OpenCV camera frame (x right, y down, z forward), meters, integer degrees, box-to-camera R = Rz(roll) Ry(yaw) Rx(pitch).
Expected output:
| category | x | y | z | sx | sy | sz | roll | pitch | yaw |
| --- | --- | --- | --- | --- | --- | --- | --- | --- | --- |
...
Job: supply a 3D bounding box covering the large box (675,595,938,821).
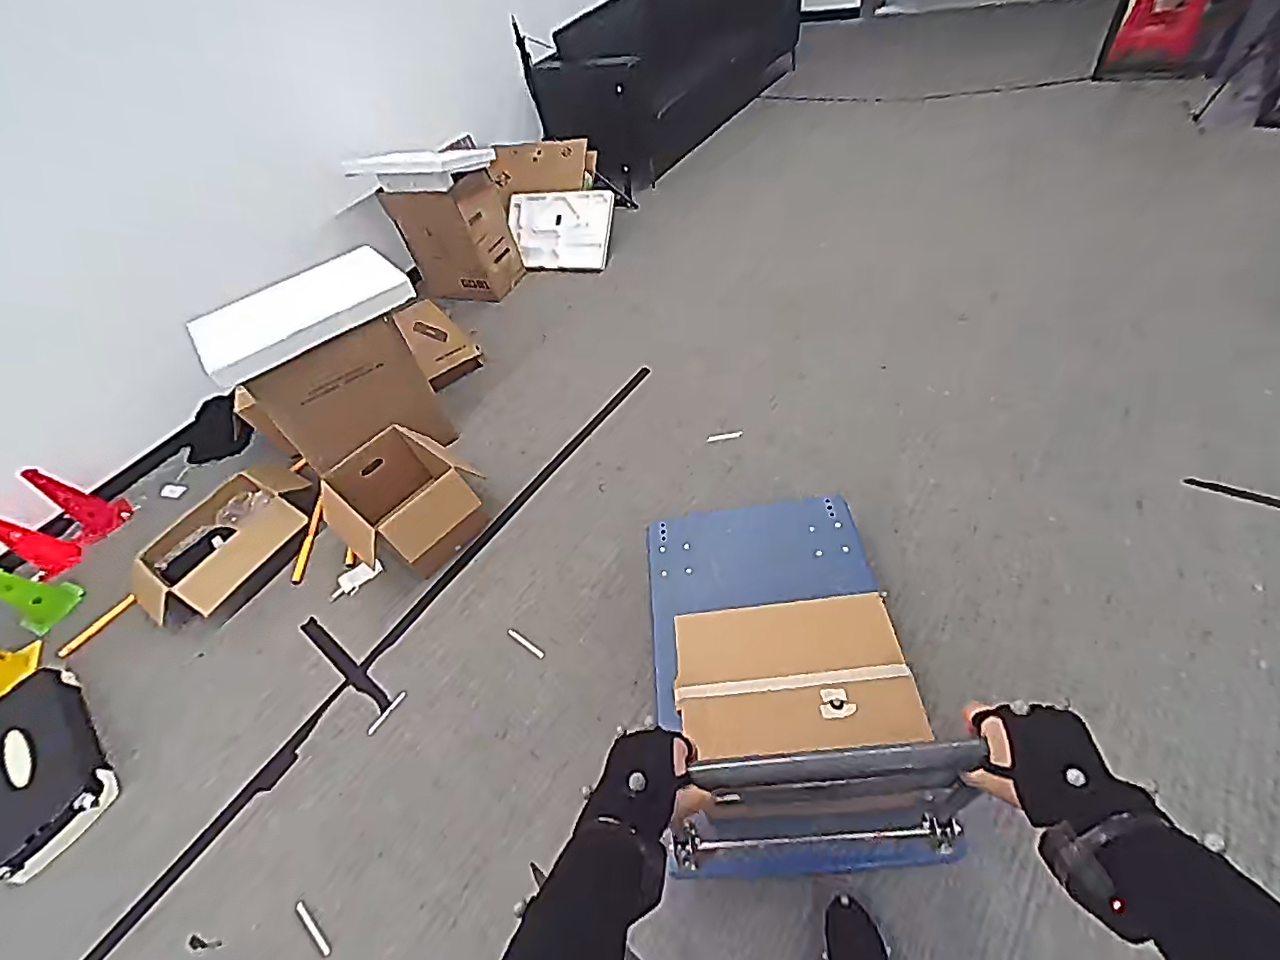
| category | x | y | z | sx | sy | sz | roll | pitch | yaw |
| --- | --- | --- | --- | --- | --- | --- | --- | --- | --- |
| large box | 0.296 | 0.463 | 1.080 | 0.408 | 0.320 | 0.320 | -8 | 49 | 6 |
